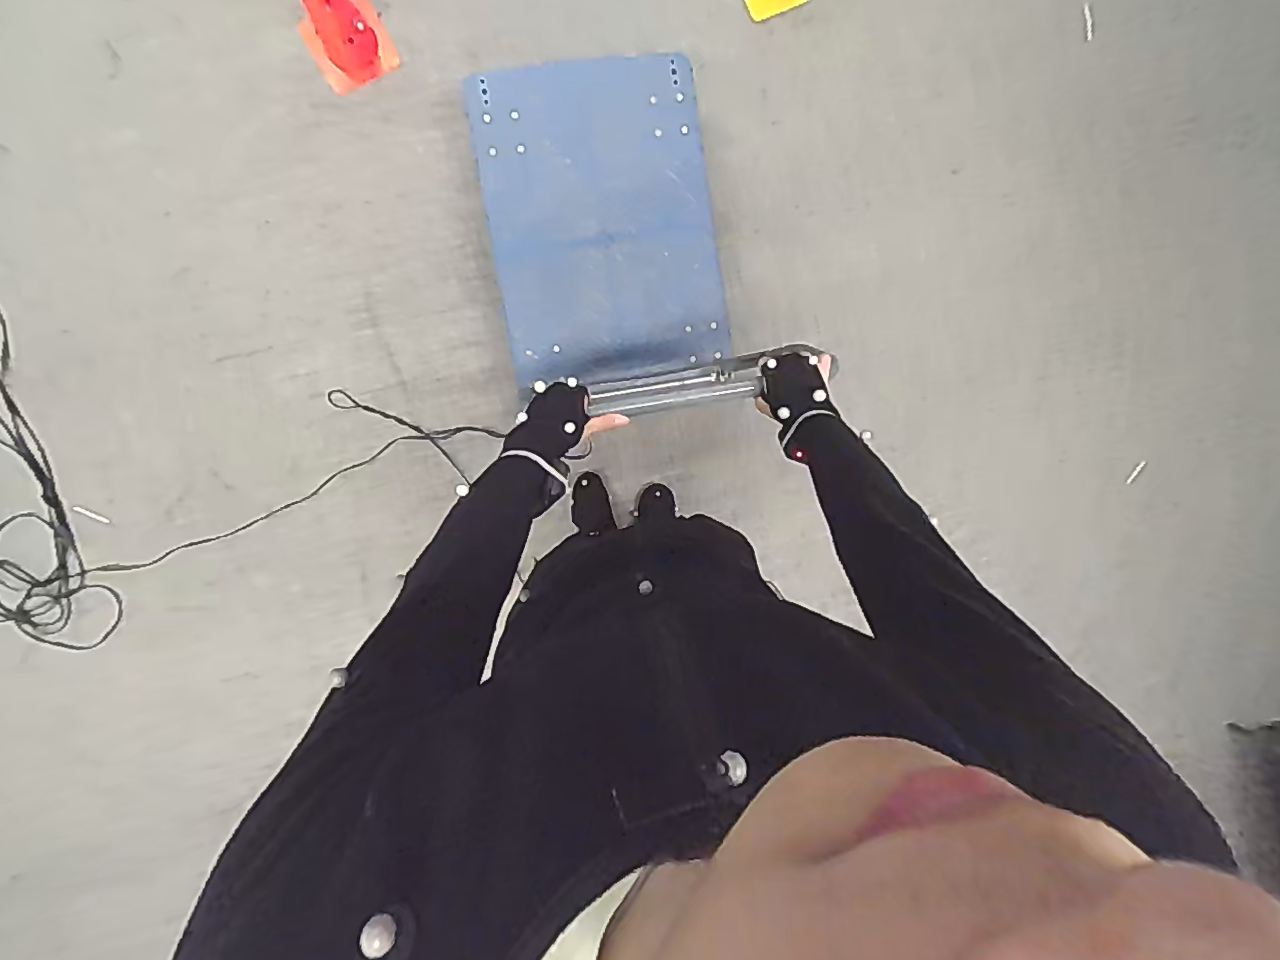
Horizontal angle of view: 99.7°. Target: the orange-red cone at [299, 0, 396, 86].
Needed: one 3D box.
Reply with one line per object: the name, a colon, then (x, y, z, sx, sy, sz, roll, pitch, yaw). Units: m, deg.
orange-red cone: (-0.757, -1.152, 1.260, 0.199, 0.360, 0.198, -28, 96, -2)
